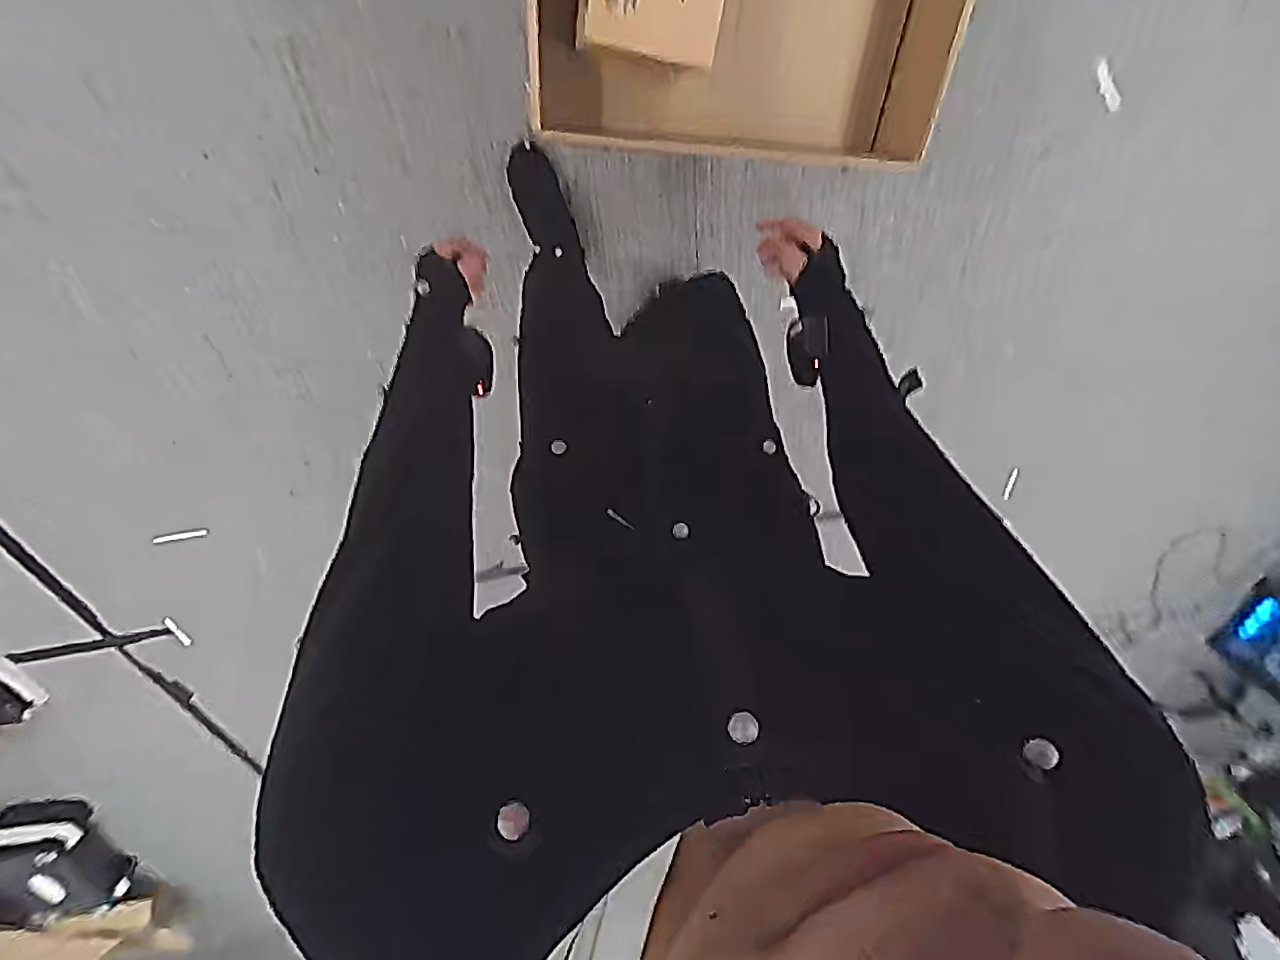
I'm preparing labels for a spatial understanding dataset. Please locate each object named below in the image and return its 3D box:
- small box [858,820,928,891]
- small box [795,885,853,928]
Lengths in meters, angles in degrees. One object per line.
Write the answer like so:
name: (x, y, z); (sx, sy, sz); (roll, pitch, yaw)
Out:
small box: (0.964, 1.443, 2.079); (0.179, 0.176, 0.168); (-8, 128, -3)
small box: (0.745, 1.691, 2.215); (0.168, 0.176, 0.179); (-9, 125, -6)
